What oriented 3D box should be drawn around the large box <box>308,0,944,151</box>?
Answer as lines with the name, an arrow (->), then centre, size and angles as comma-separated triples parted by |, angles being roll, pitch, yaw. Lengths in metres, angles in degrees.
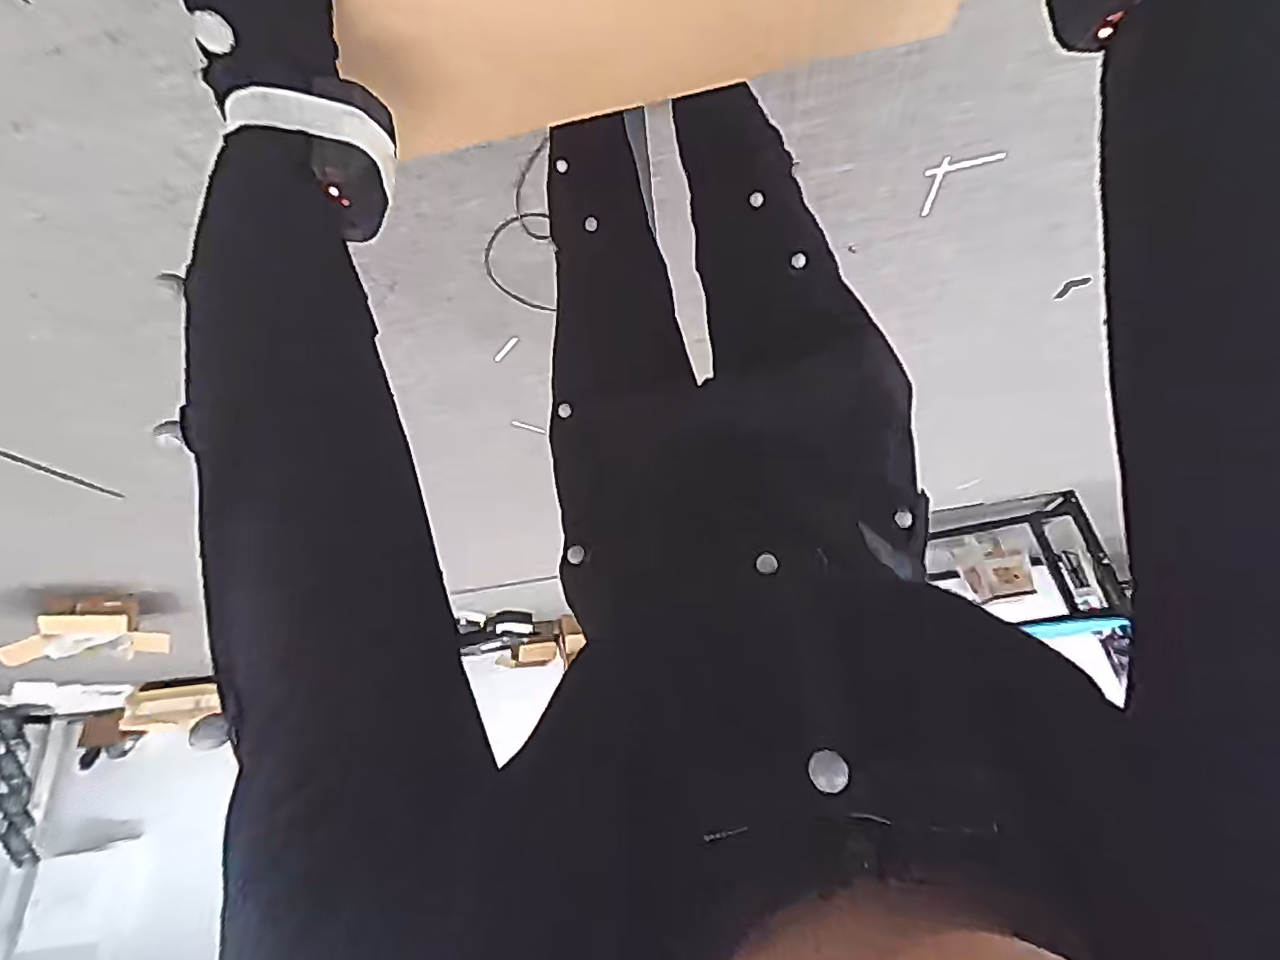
large box -> -0.030, -0.471, 0.306 | 0.408, 0.320, 0.320 | -11, 158, 2
